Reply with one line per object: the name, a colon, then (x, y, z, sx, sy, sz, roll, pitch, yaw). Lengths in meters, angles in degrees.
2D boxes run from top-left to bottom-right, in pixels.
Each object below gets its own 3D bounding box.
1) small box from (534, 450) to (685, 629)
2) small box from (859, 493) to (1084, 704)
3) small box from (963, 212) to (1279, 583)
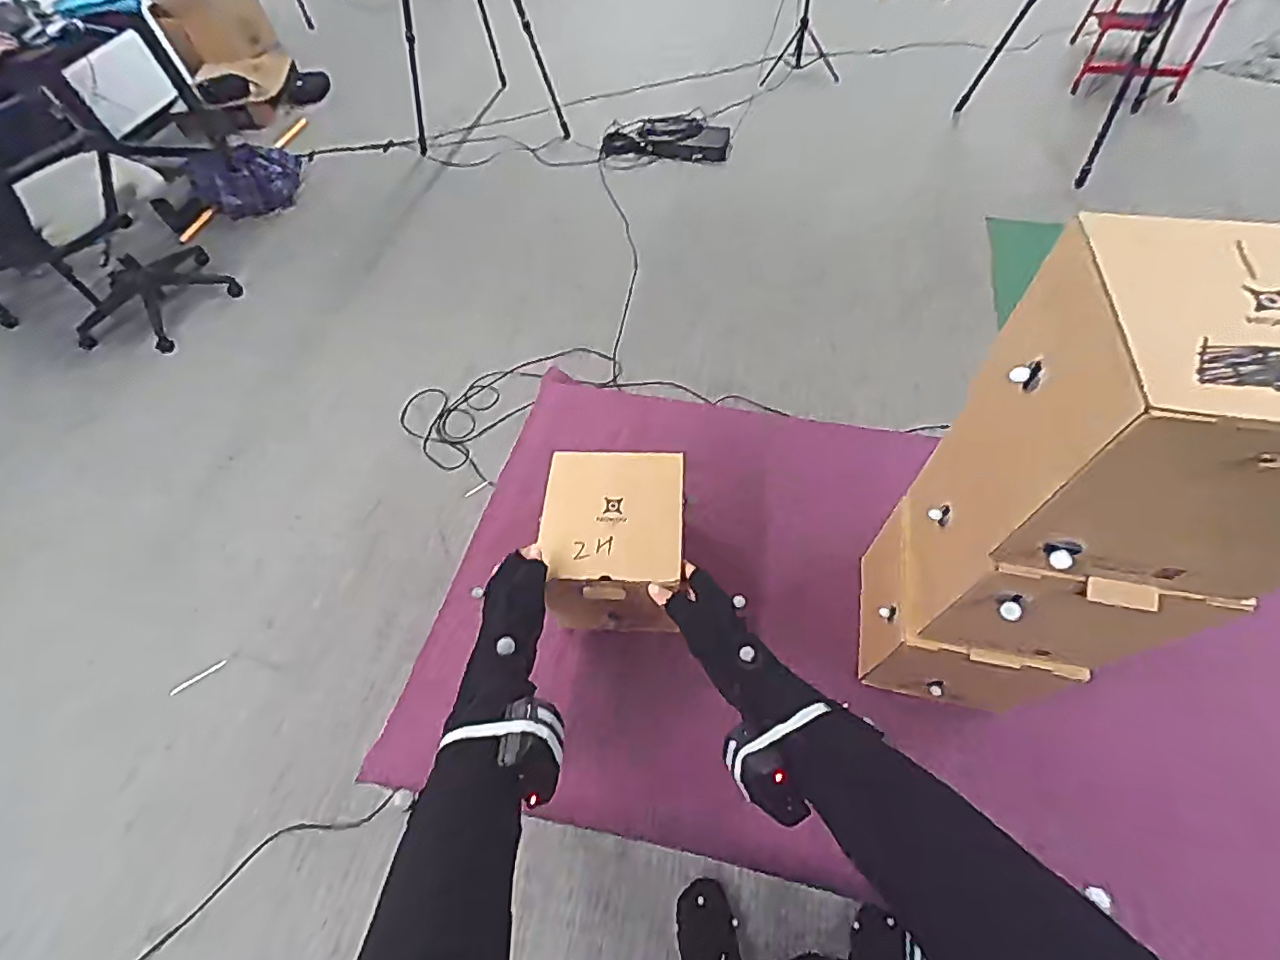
small box: (-0.027, 0.080, 0.703, 0.168, 0.176, 0.179, 1, 58, 6)
small box: (0.363, 0.141, 0.631, 0.168, 0.176, 0.179, 9, 59, 11)
small box: (0.343, -0.049, 0.362, 0.168, 0.176, 0.179, 9, 57, 10)
